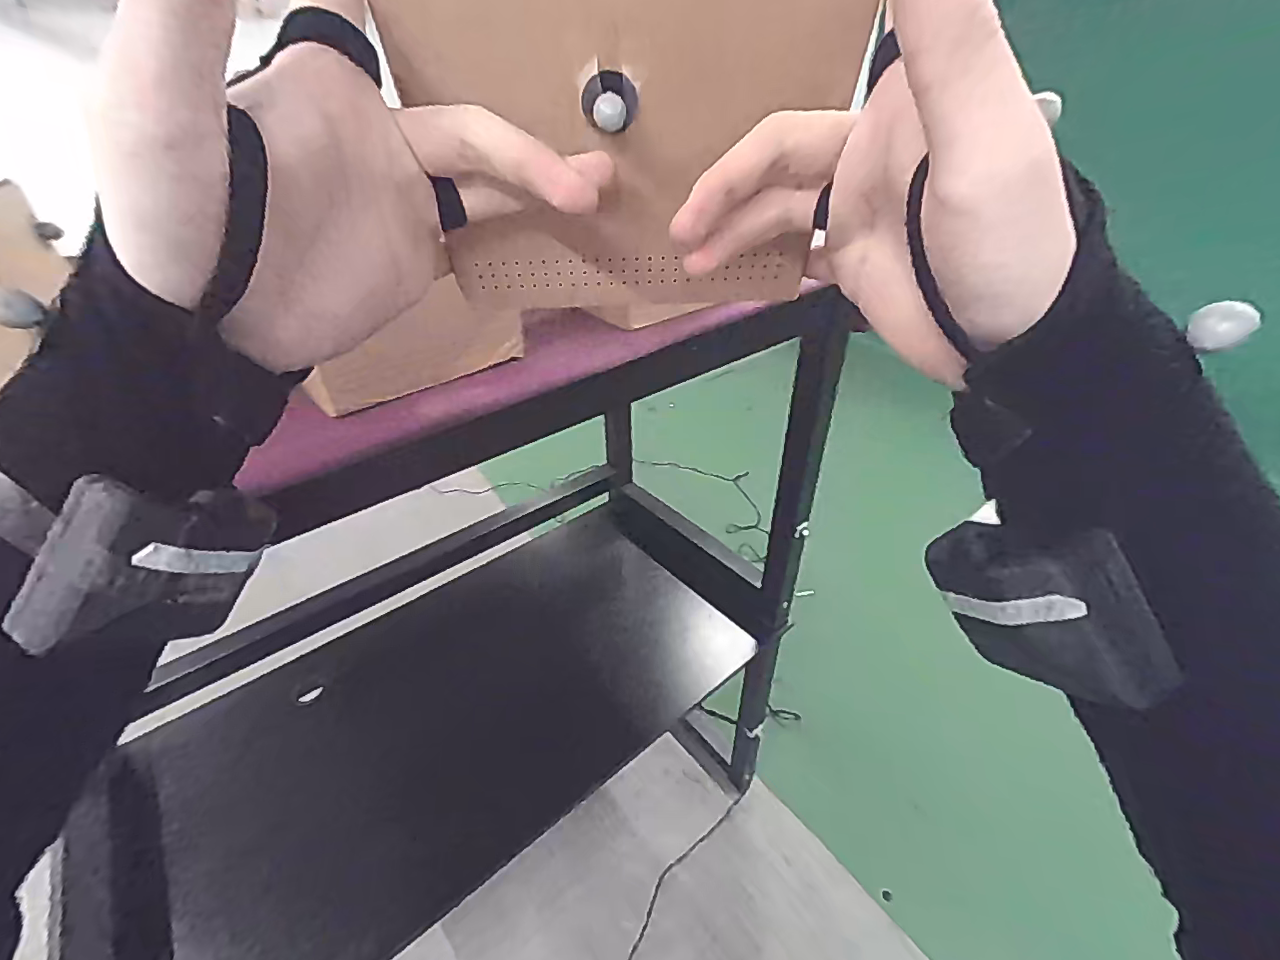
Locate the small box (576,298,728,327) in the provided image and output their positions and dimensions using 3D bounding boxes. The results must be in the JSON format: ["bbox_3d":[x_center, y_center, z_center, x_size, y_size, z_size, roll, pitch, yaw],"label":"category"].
[{"bbox_3d":[0.003,-0.286,0.606,0.179,0.176,0.168,-28,44,-30],"label":"small box"}]

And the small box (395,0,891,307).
[{"bbox_3d":[0.000,-0.204,0.265,0.179,0.176,0.168,-3,55,-1],"label":"small box"}]

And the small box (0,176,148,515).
[{"bbox_3d":[-0.444,-0.075,0.329,0.168,0.176,0.179,-24,40,-28],"label":"small box"}]
